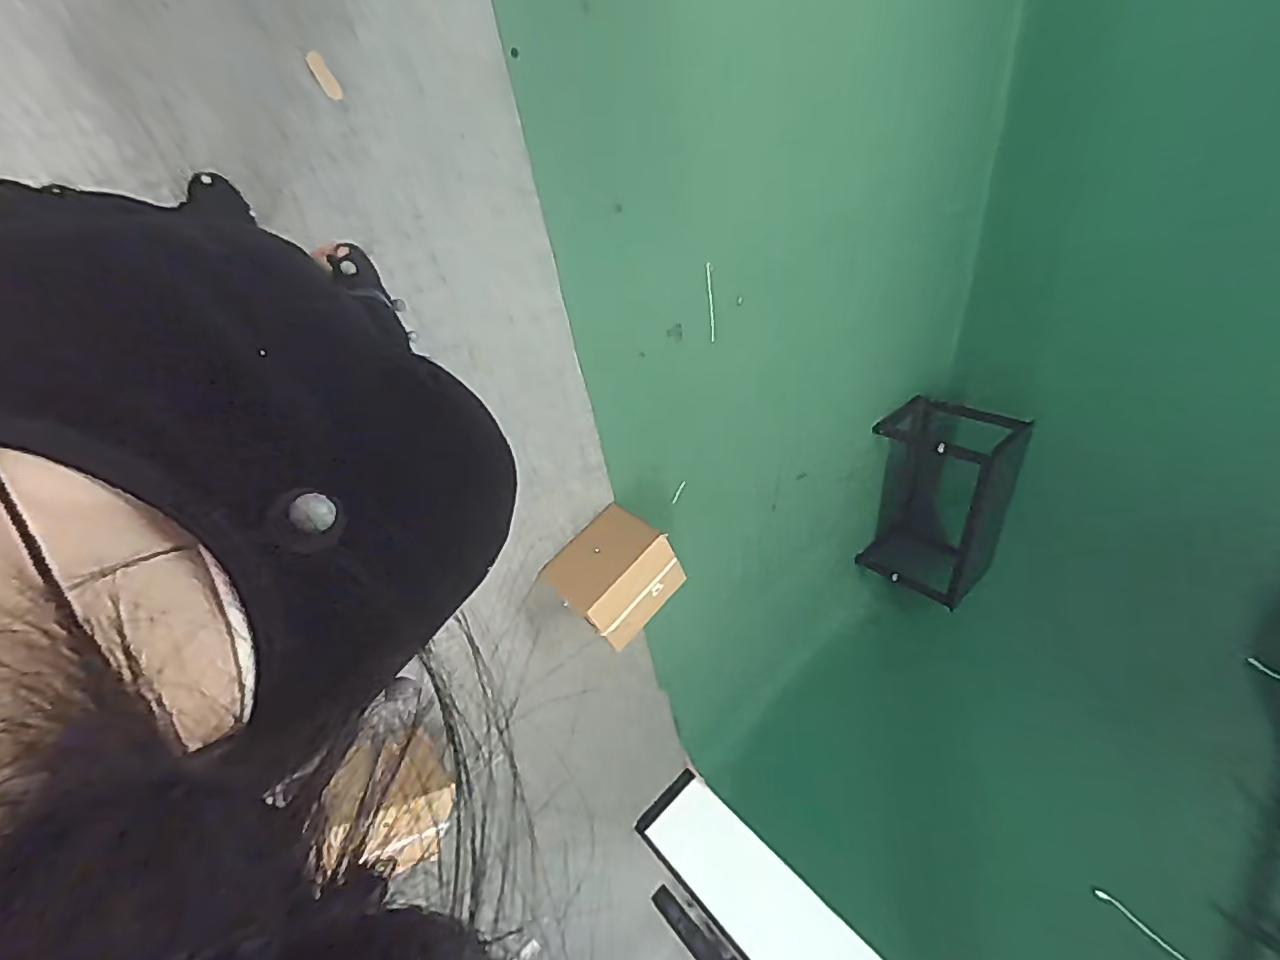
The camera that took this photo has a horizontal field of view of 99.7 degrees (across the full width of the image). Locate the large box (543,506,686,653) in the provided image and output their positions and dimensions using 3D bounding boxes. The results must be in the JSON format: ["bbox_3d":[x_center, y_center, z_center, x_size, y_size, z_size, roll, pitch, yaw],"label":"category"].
[{"bbox_3d":[-0.096,0.378,2.109,0.408,0.320,0.320,-45,135,-19],"label":"large box"}]
